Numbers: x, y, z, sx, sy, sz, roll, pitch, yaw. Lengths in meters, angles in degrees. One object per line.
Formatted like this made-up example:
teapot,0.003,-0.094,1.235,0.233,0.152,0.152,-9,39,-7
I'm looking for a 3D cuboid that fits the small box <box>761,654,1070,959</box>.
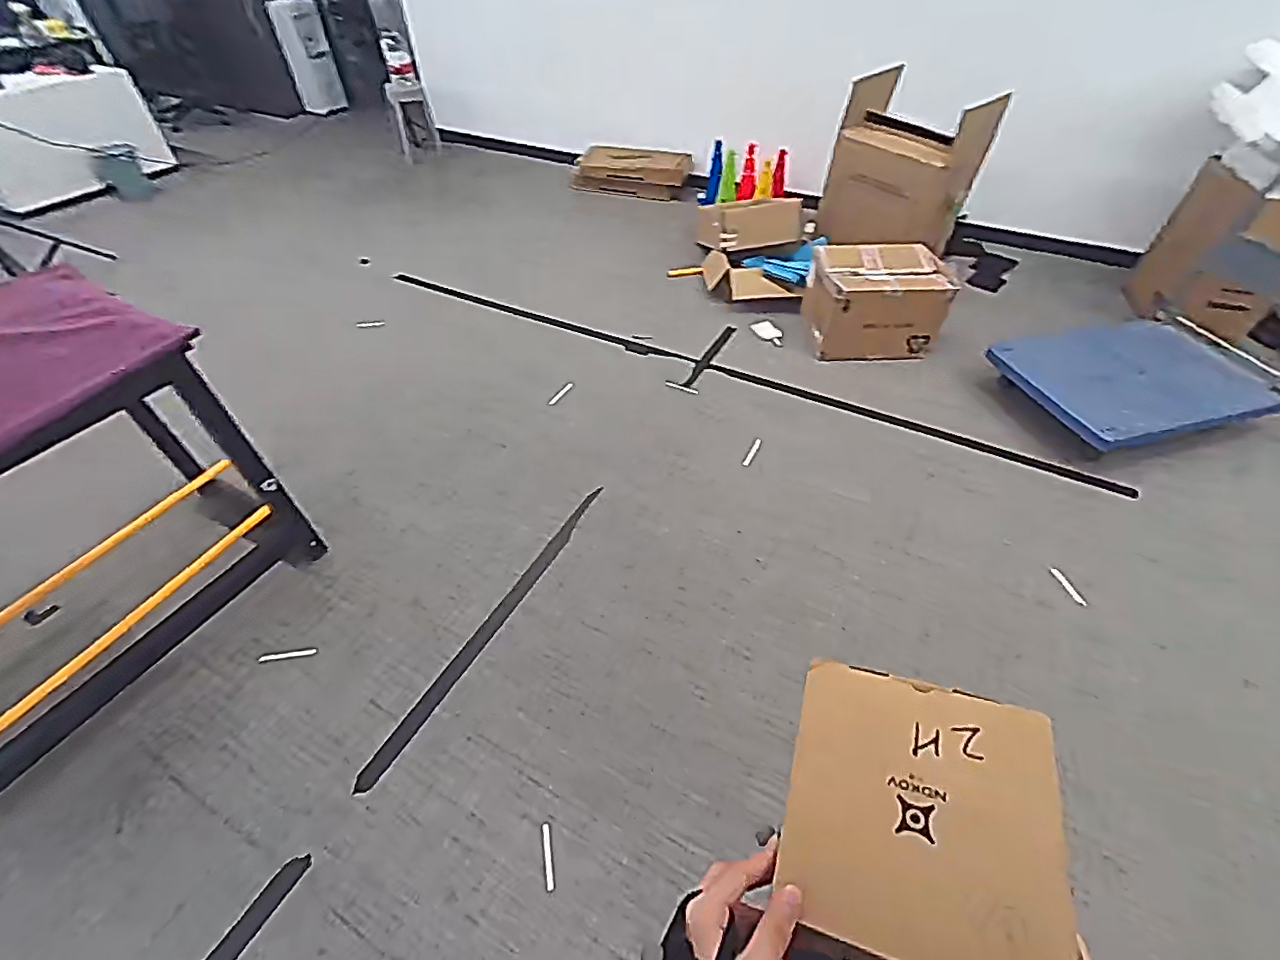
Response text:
small box,0.194,0.267,0.414,0.168,0.176,0.179,8,50,21
